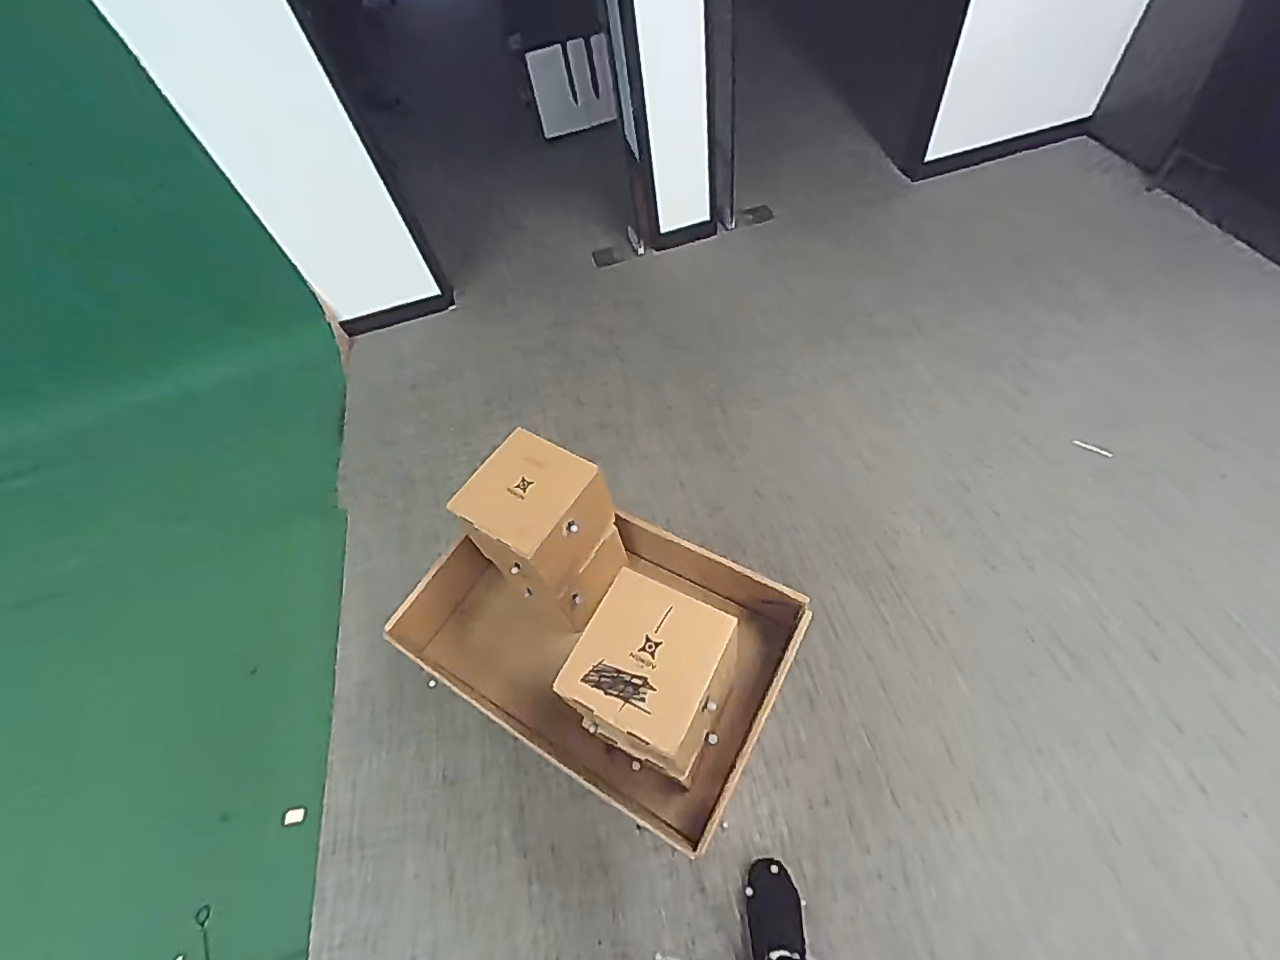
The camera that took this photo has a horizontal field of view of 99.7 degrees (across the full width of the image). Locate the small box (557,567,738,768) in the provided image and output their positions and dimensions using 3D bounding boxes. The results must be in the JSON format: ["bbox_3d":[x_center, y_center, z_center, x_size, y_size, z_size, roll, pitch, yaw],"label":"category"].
[{"bbox_3d":[0.021,0.252,0.713,0.168,0.176,0.179,22,62,21],"label":"small box"}]

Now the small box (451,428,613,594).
[{"bbox_3d":[-0.161,0.056,0.872,0.168,0.176,0.179,27,65,22],"label":"small box"}]
